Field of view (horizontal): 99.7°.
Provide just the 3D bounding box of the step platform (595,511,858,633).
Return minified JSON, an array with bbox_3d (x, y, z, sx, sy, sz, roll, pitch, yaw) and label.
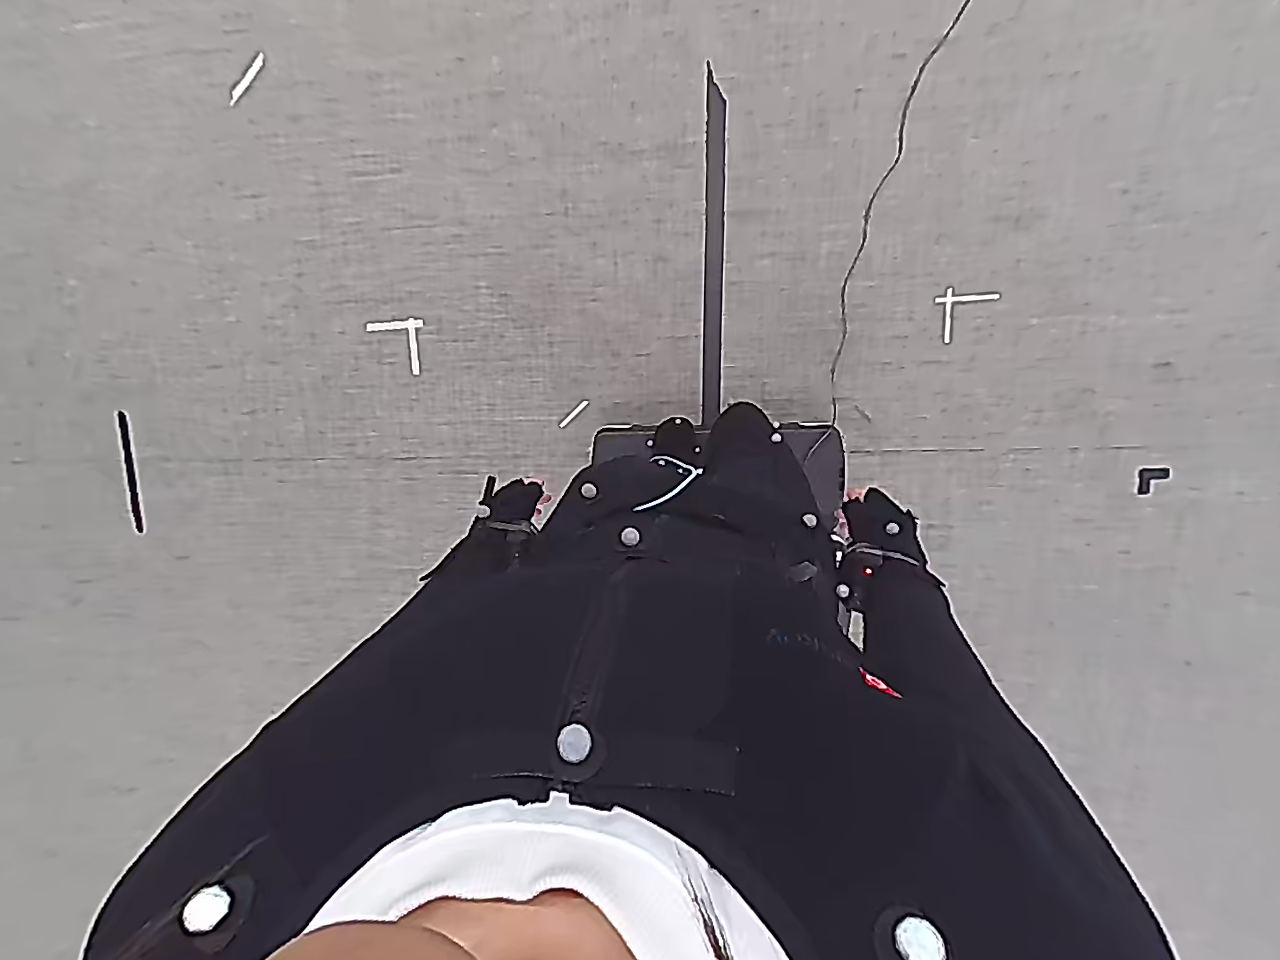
[{"bbox_3d":[0.221,0.244,1.454,0.684,0.204,0.286,-1,97,8],"label":"step platform"}]
